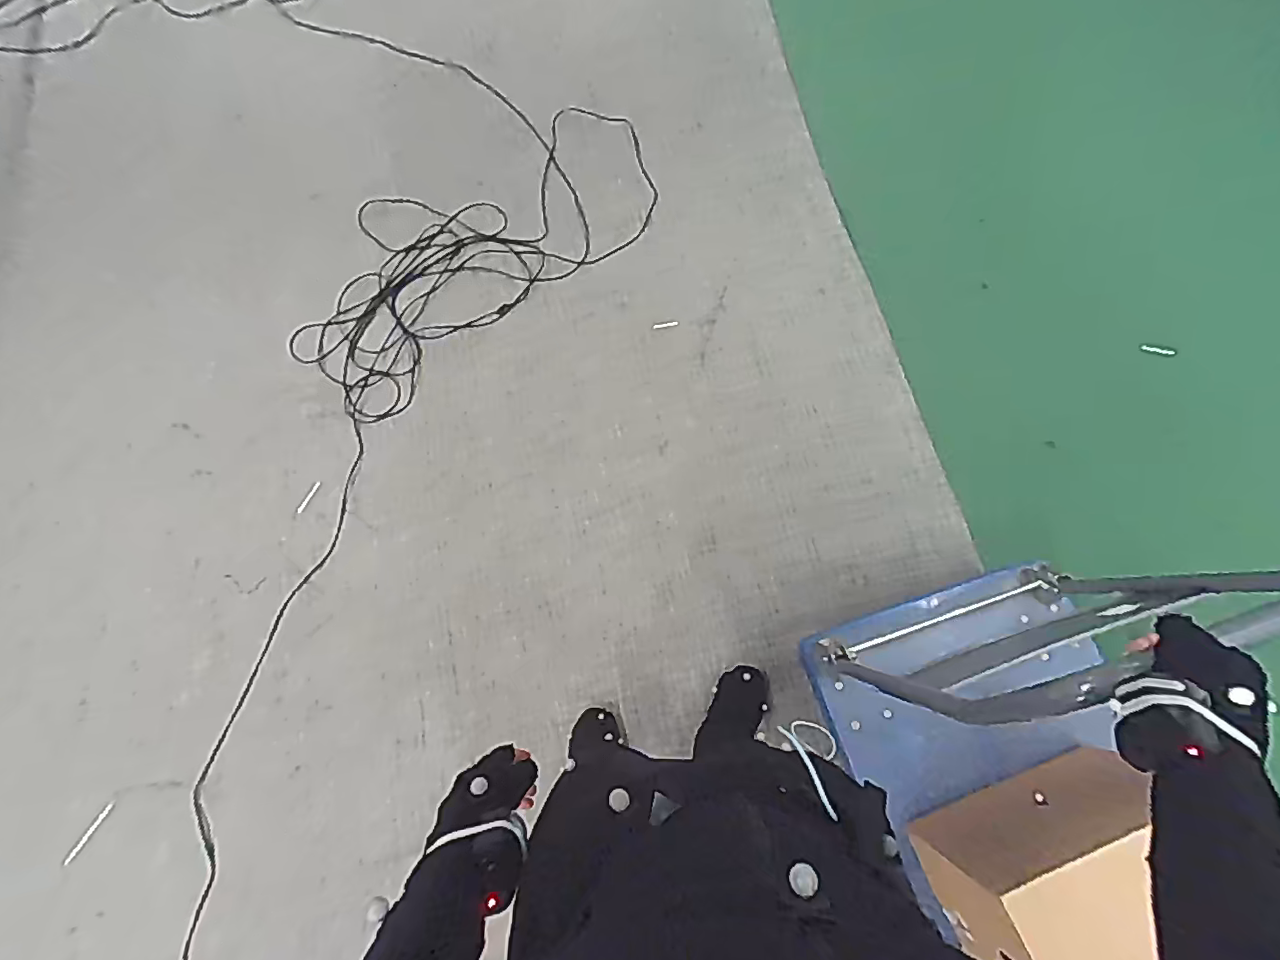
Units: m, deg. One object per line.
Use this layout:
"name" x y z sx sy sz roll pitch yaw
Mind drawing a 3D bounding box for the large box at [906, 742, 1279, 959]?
"large box" 0.739 0.681 0.871 0.408 0.320 0.320 -22 75 -5
